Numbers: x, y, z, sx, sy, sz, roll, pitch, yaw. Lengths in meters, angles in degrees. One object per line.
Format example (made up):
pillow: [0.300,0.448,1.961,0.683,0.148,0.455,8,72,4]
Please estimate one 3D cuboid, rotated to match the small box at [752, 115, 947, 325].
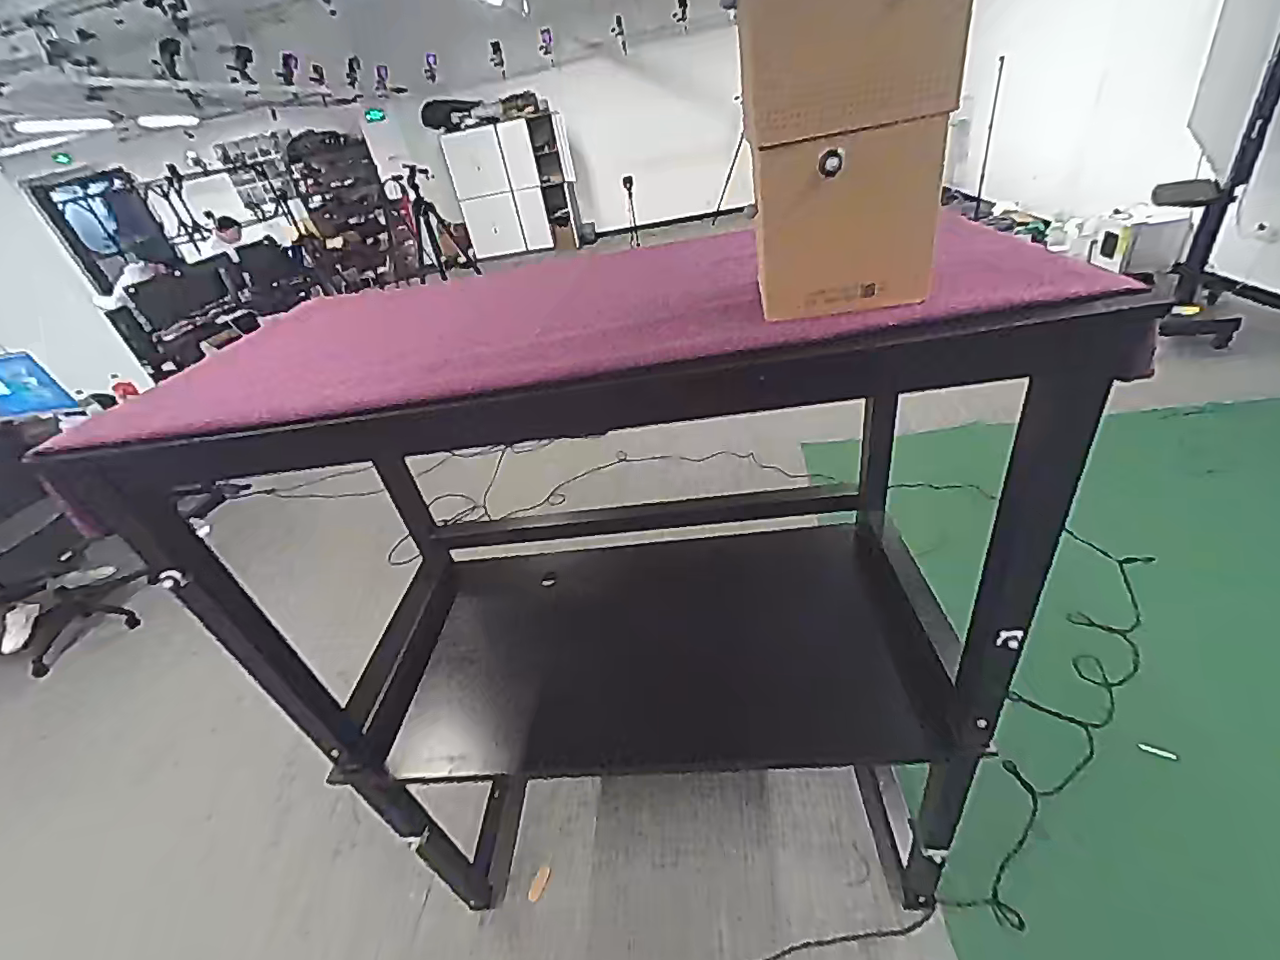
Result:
small box: [0.213,-0.285,0.596,0.168,0.176,0.179,-5,34,12]
